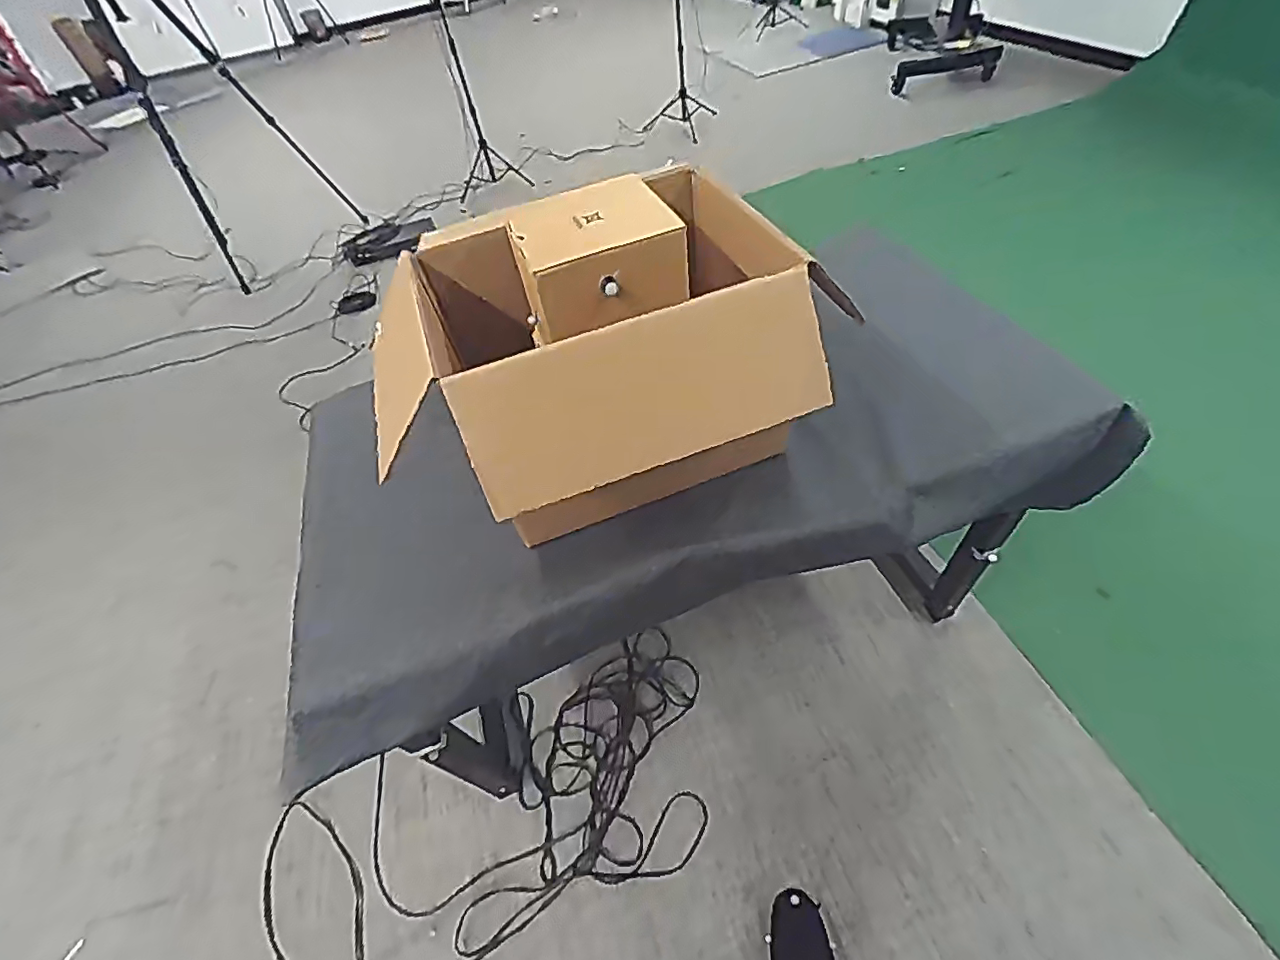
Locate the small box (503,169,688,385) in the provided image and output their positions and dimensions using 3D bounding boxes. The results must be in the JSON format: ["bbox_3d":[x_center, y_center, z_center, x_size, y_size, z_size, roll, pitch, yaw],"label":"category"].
[{"bbox_3d":[-0.049,-0.248,0.670,0.179,0.176,0.168,-20,51,-7],"label":"small box"}]
